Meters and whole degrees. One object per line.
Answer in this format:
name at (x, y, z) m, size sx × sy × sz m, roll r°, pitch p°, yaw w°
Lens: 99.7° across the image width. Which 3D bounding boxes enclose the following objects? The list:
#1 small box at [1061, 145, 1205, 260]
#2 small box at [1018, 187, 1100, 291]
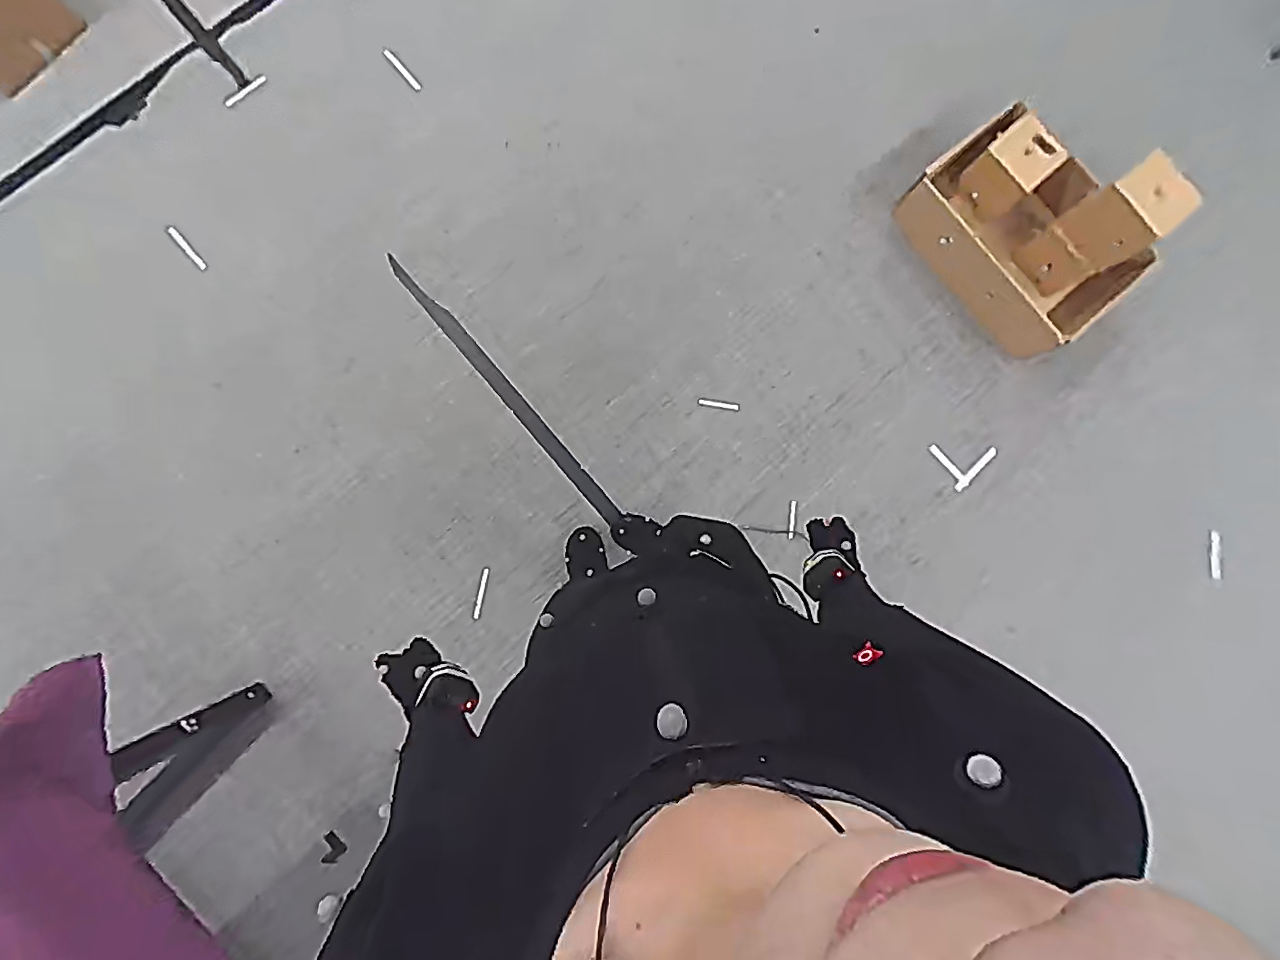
small box at (1.249, -0.694, 1.383) m, size 0.168 × 0.176 × 0.179 m, roll -38°, pitch 86°, yaw -7°
small box at (1.235, -0.679, 1.547) m, size 0.179 × 0.176 × 0.168 m, roll -39°, pitch 86°, yaw -4°
